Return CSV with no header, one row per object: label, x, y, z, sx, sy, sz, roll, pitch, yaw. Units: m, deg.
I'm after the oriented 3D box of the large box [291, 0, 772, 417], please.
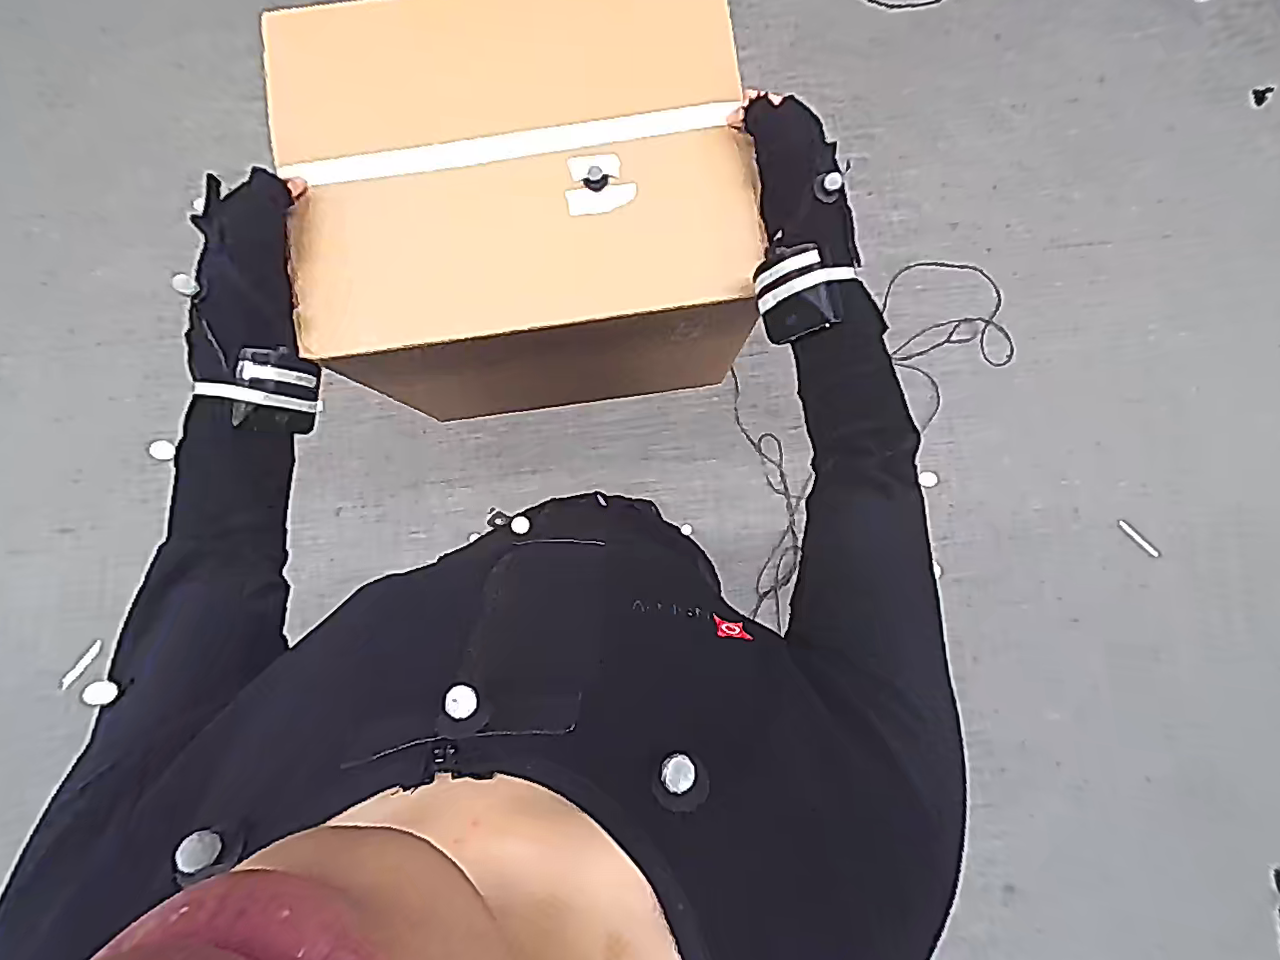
large box,-0.102,-0.279,0.630,0.408,0.320,0.320,-8,86,0
